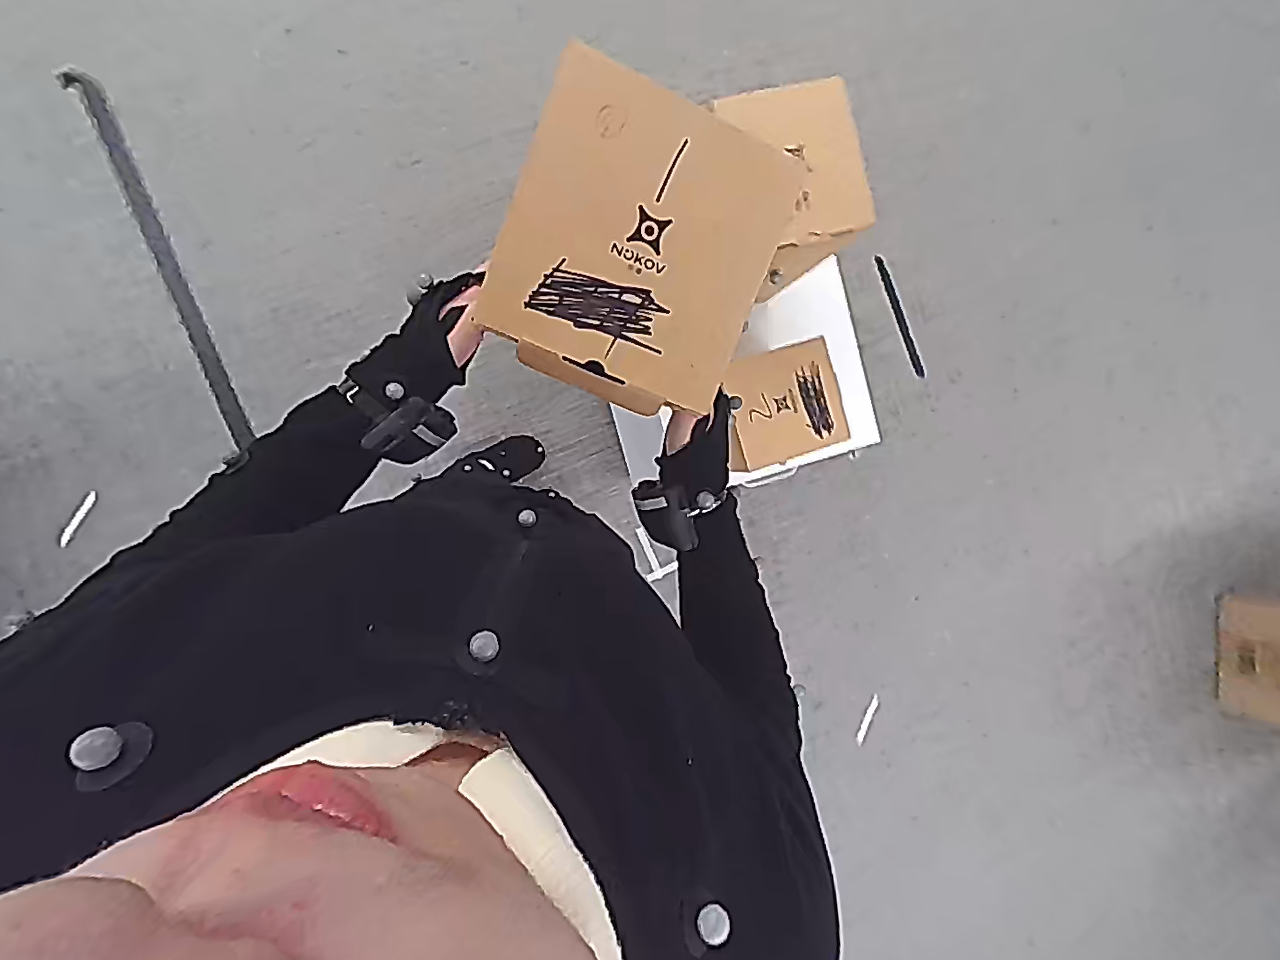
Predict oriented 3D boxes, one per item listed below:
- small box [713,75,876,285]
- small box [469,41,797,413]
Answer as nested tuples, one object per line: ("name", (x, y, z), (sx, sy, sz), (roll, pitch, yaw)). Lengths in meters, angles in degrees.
("small box", (0.167, -0.367, 0.697), (0.168, 0.176, 0.179), (-16, 95, -8))
("small box", (-0.012, -0.167, 0.420), (0.168, 0.176, 0.179), (20, 98, -11))
